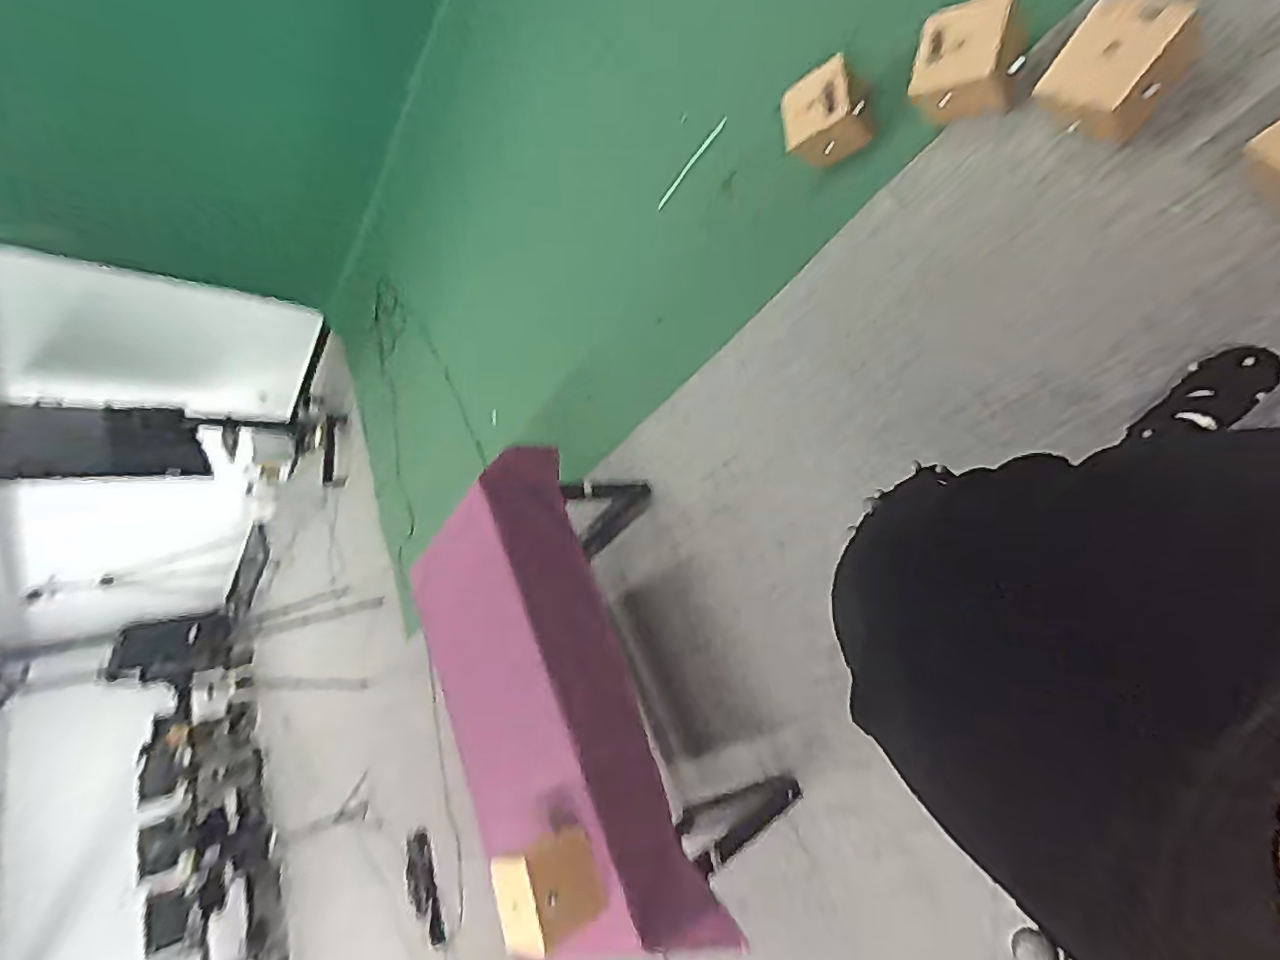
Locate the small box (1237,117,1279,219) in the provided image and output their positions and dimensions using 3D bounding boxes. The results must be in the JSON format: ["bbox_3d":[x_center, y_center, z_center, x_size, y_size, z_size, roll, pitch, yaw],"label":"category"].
[{"bbox_3d":[1.153,-0.538,0.889,0.168,0.176,0.179,-42,63,36],"label":"small box"}]

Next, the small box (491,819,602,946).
[{"bbox_3d":[-0.211,0.906,1.231,0.168,0.176,0.179,-36,65,39],"label":"small box"}]

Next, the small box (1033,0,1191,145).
[{"bbox_3d":[0.950,-0.816,1.090,0.168,0.176,0.179,51,123,32],"label":"small box"}]

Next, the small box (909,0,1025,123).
[{"bbox_3d":[0.769,-0.973,1.268,0.179,0.176,0.168,20,103,42],"label":"small box"}]
